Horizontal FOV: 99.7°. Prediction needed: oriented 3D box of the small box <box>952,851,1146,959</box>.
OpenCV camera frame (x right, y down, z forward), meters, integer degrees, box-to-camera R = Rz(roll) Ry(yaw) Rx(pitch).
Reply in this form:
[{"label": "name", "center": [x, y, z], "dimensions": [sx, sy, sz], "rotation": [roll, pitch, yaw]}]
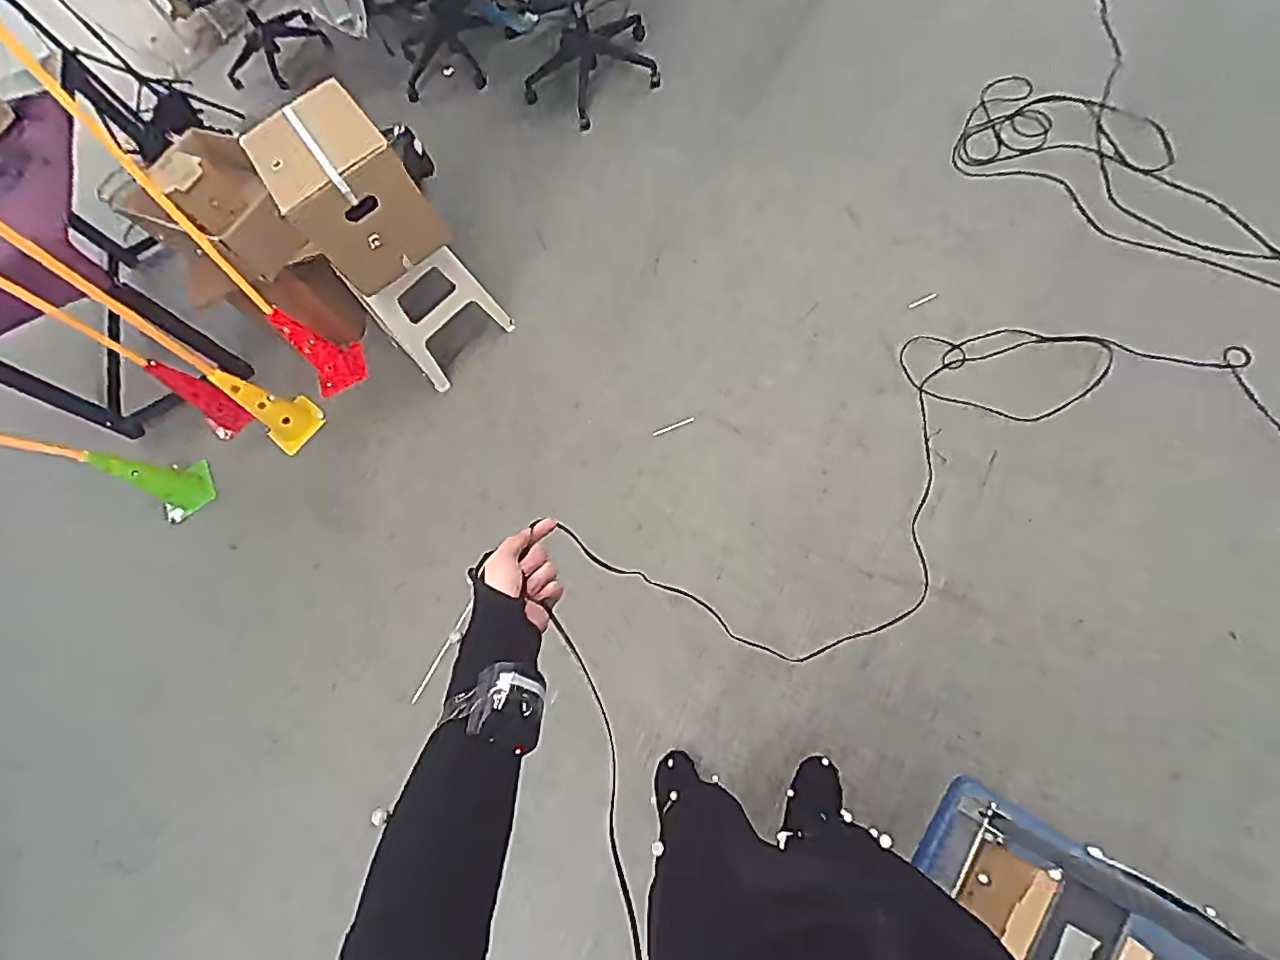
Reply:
[{"label": "small box", "center": [0.667, 0.767, 0.900], "dimensions": [0.179, 0.176, 0.168], "rotation": [34, 80, 20]}]
